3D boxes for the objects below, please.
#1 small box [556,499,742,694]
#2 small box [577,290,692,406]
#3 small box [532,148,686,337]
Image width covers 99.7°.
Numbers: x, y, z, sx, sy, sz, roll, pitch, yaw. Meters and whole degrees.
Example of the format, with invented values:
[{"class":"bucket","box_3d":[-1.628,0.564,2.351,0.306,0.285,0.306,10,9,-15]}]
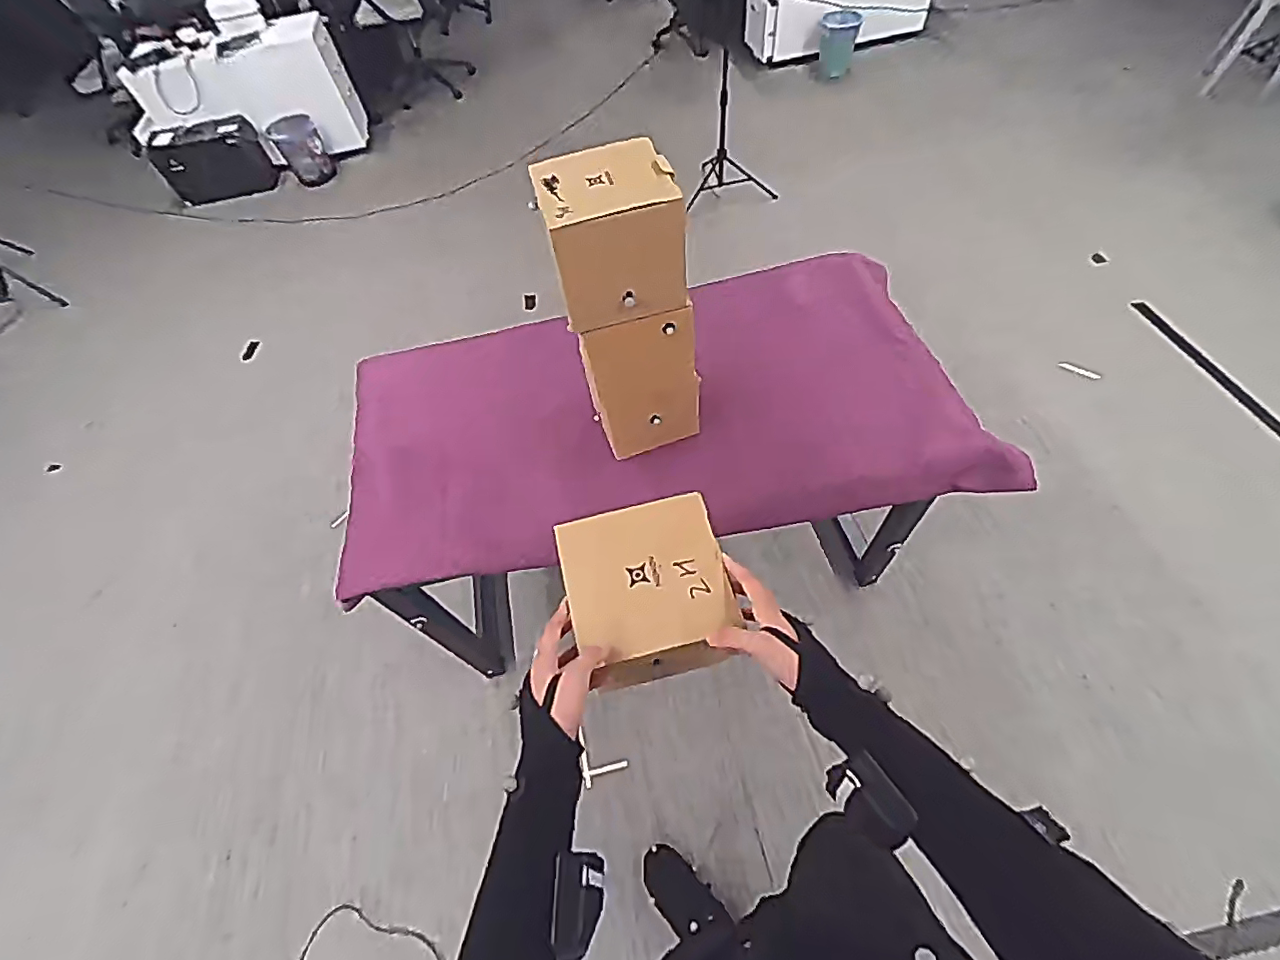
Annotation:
[{"class":"small box","box_3d":[0.007,0.147,0.653,0.179,0.176,0.168,-12,61,-6]},{"class":"small box","box_3d":[-0.018,-0.248,0.910,0.179,0.176,0.168,-15,57,-4]},{"class":"small box","box_3d":[-0.041,-0.333,0.771,0.179,0.176,0.168,-15,56,-5]}]
